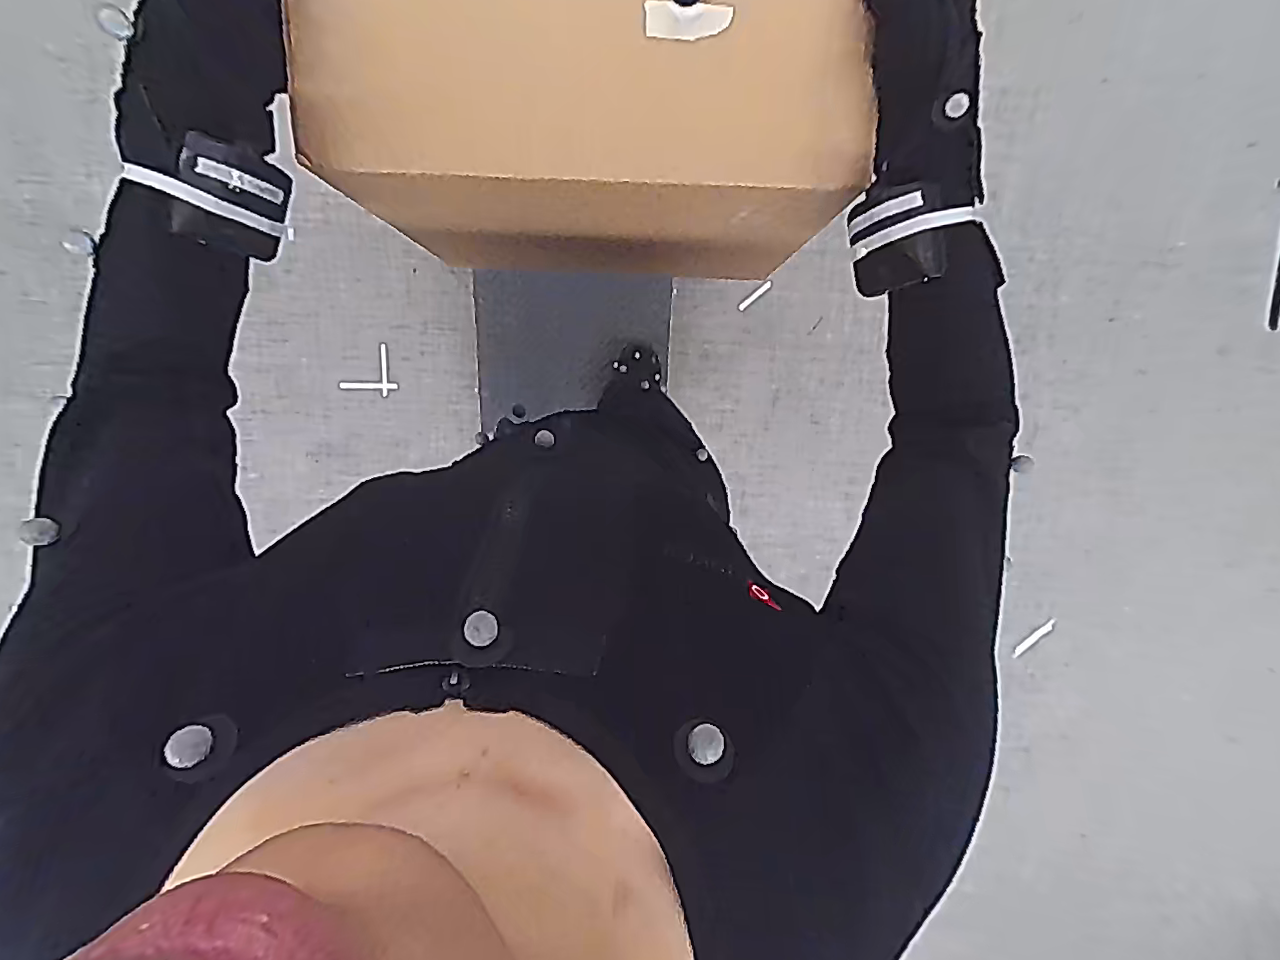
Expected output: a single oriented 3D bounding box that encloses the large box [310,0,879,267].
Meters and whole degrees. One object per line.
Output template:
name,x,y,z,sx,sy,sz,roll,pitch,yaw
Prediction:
large box,-0.033,-0.401,0.517,0.408,0.320,0.320,1,99,-1
